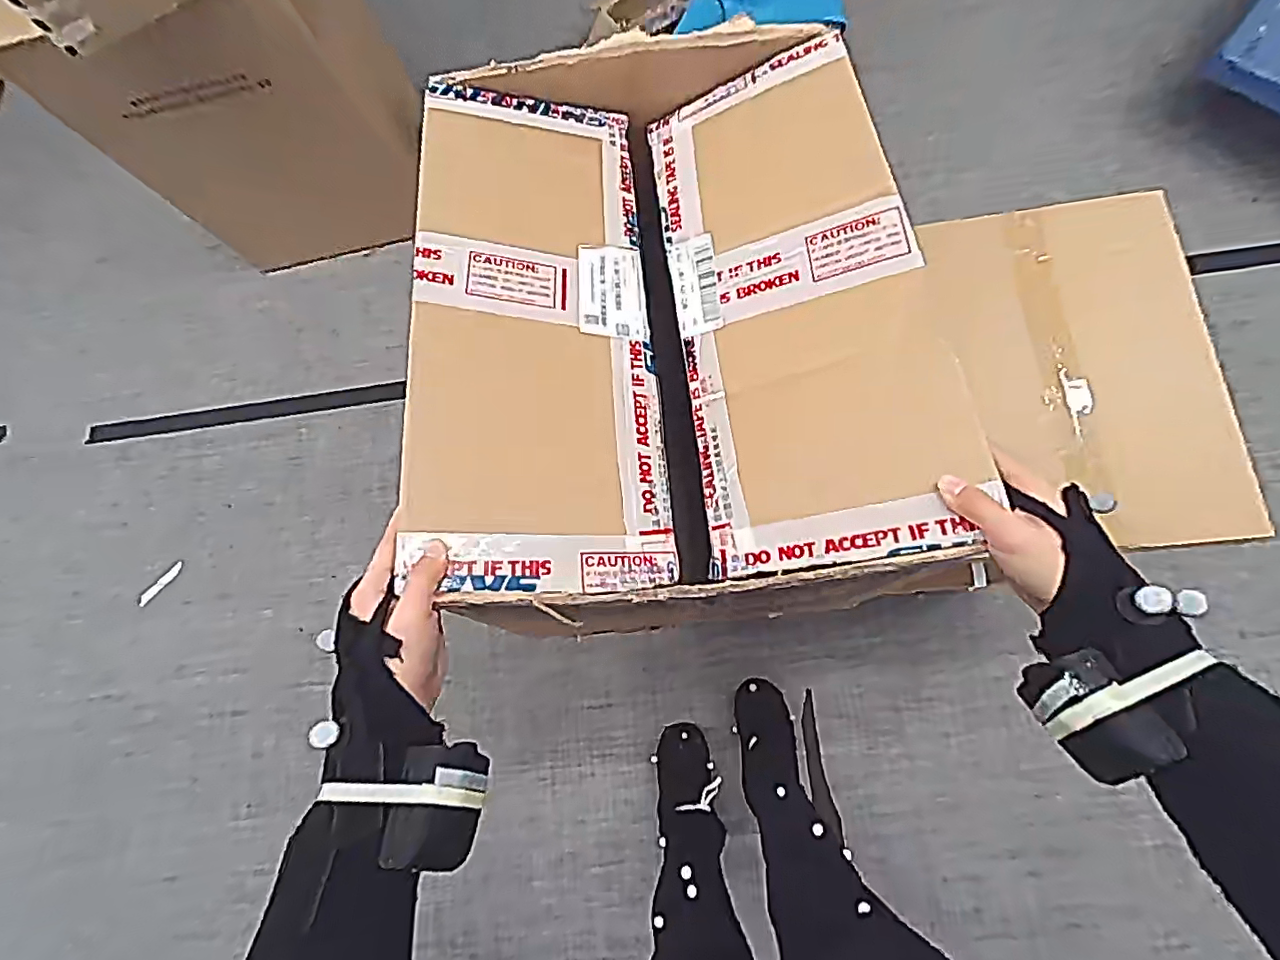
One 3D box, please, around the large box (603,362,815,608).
[{"bbox_3d":[0.123,0.029,1.081,0.320,0.320,0.408,-8,78,5],"label":"large box"}]
